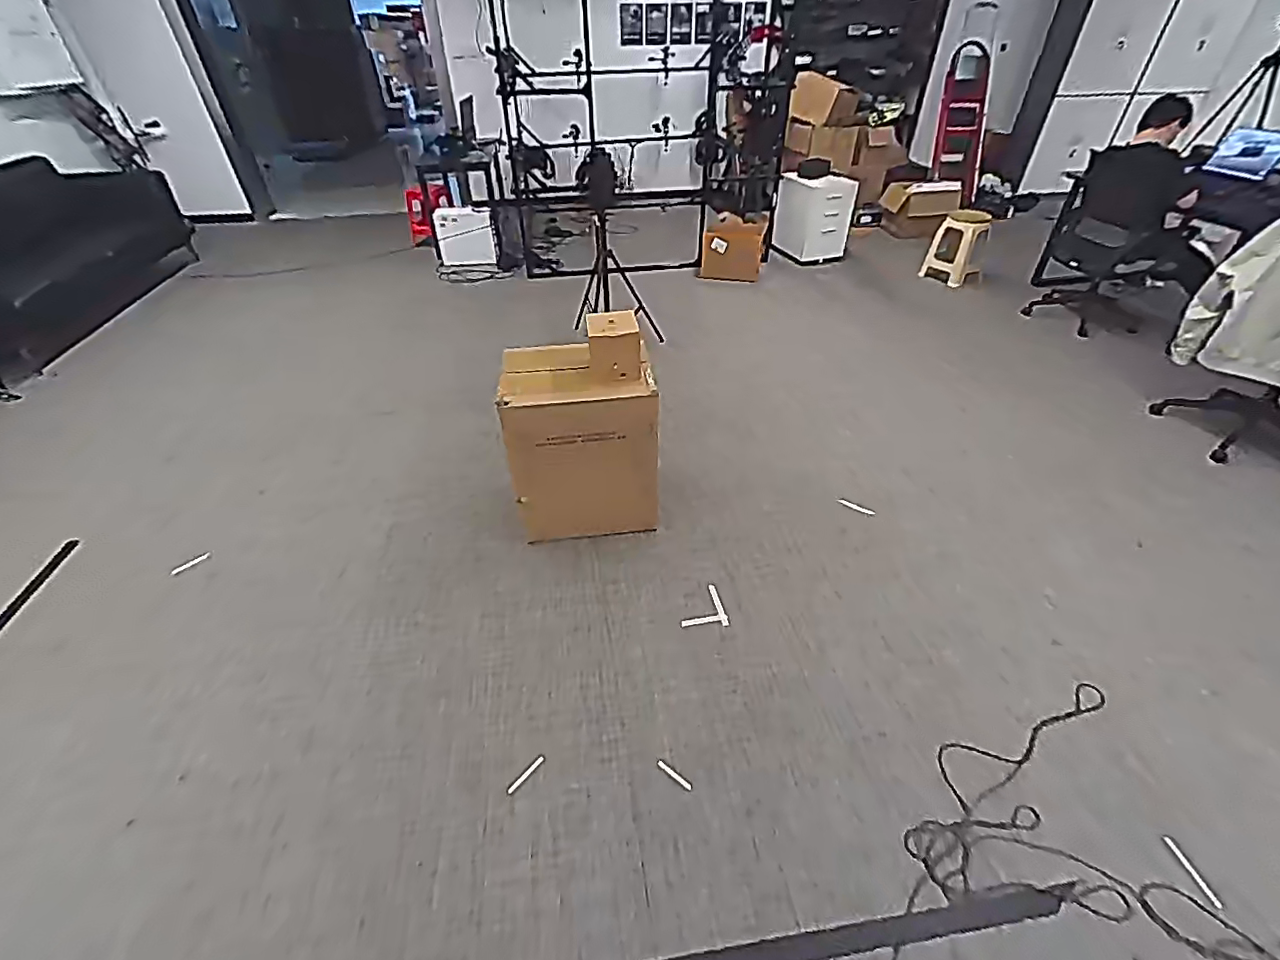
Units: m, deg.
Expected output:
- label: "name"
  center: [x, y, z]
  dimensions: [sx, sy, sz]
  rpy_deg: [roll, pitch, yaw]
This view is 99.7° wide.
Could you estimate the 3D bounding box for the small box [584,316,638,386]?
- label: "small box"
  center: [-0.098, -0.436, 1.833]
  dimensions: [0.168, 0.176, 0.179]
  rpy_deg: [-7, 41, -5]
